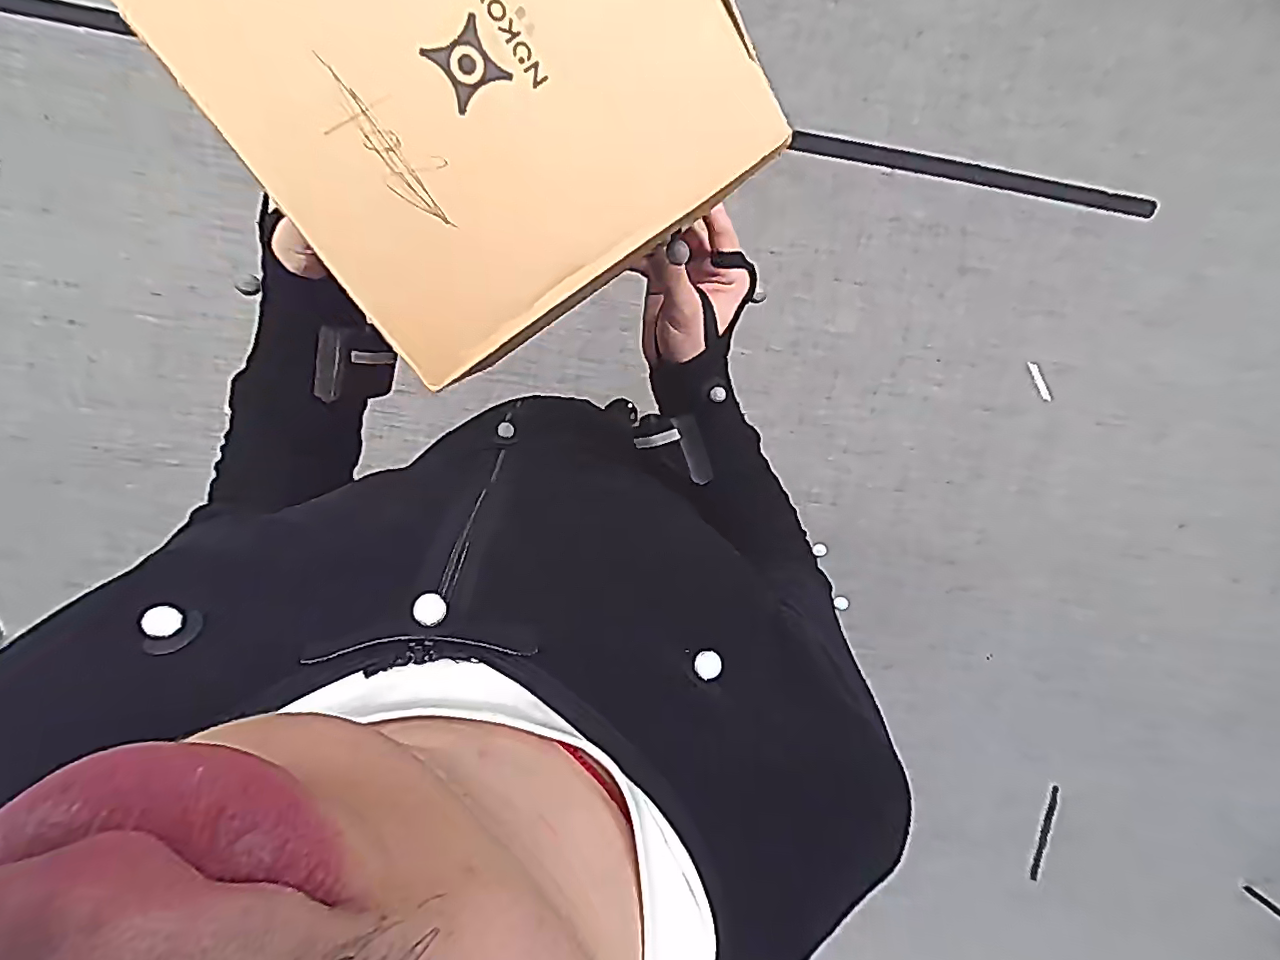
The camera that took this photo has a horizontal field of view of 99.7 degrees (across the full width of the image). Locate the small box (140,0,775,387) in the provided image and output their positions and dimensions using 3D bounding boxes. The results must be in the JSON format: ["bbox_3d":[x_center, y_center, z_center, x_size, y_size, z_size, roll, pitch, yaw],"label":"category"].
[{"bbox_3d":[-0.068,-0.171,0.279,0.179,0.176,0.168,-35,106,3],"label":"small box"}]
